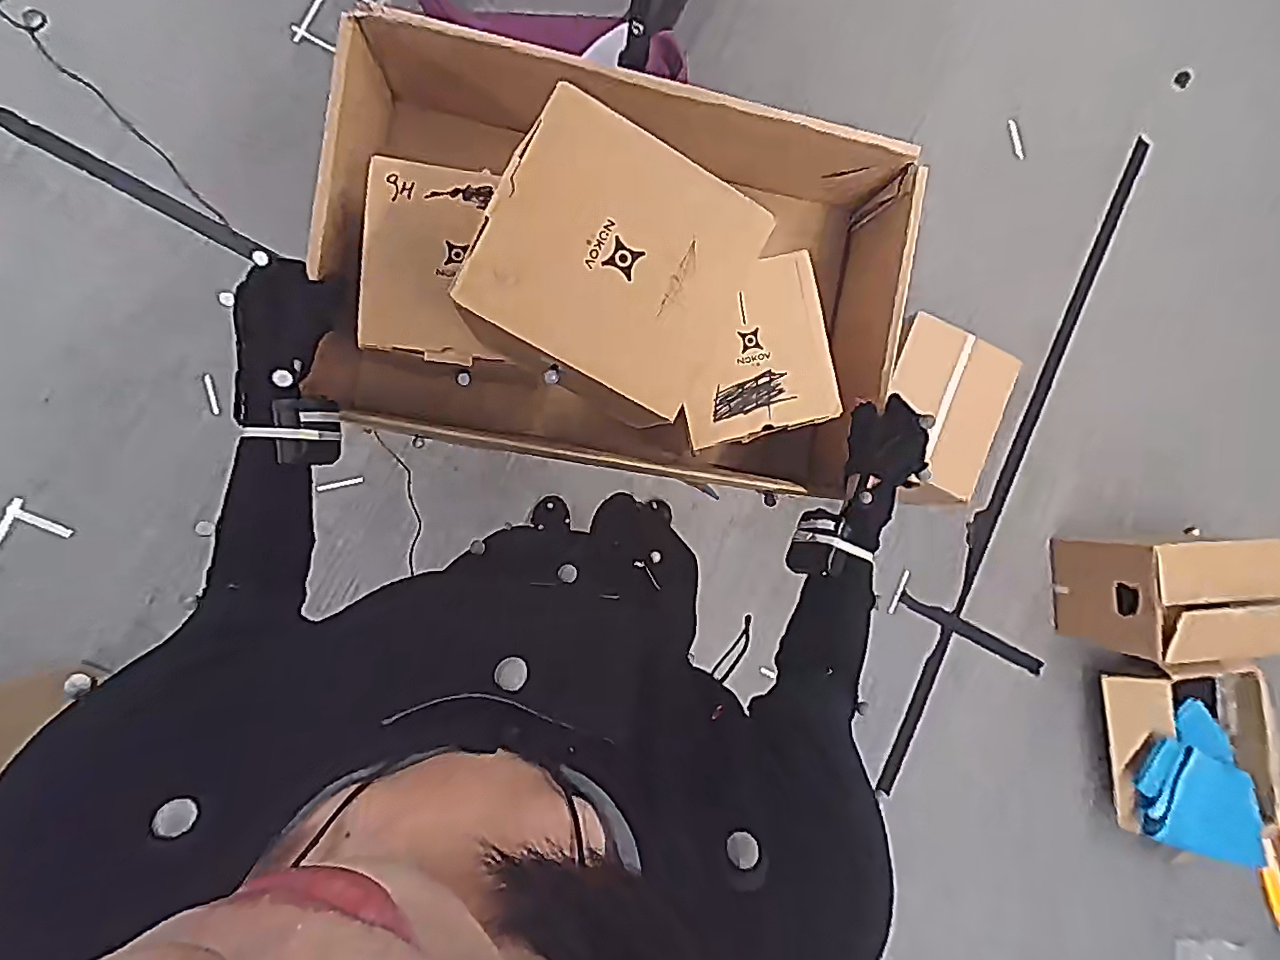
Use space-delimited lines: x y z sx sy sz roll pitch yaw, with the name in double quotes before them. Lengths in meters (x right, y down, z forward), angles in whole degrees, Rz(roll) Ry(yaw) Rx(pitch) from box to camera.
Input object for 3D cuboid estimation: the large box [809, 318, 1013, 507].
"large box" 0.733 -0.167 1.508 0.320 0.320 0.408 24 85 -5
